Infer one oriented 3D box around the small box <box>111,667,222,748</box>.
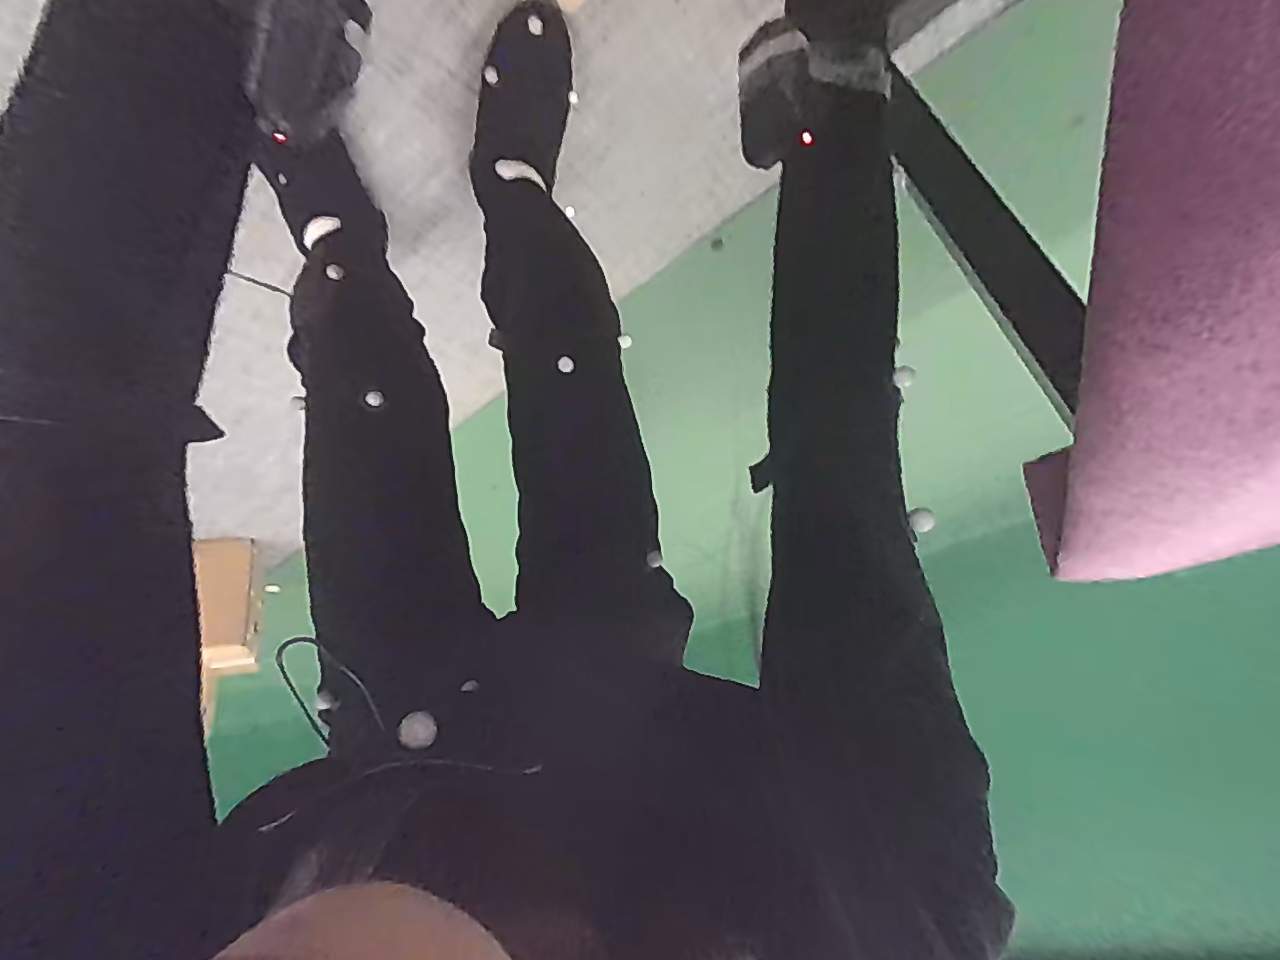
[{"bbox_3d":[-1.215,0.597,1.405,0.168,0.176,0.179,-3,151,-23],"label":"small box"}]
